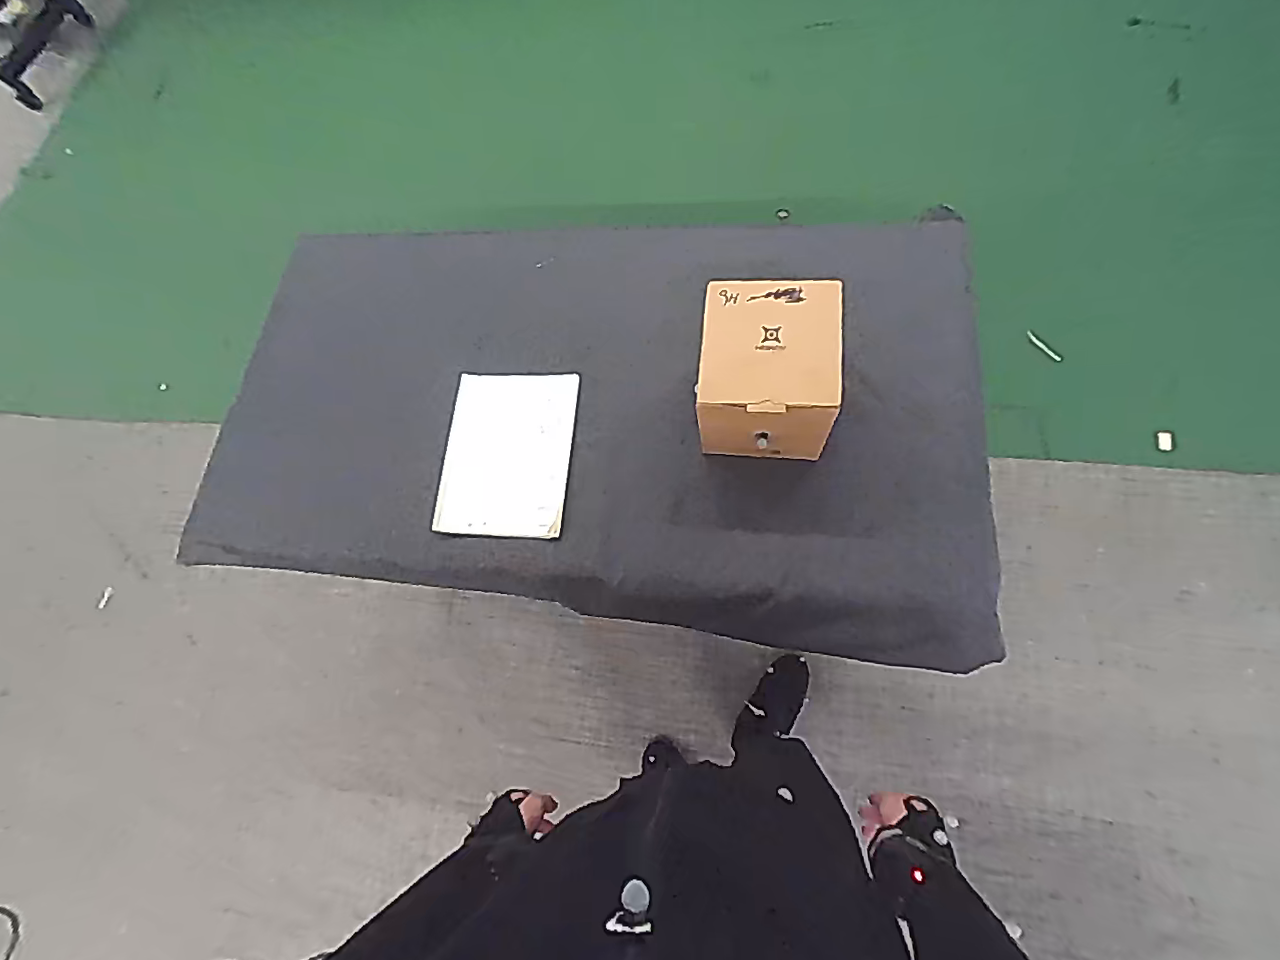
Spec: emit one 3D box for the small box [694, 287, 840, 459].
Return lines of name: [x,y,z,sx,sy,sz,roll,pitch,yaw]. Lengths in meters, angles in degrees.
small box: [0.168,-0.135,0.728,0.168,0.176,0.179,4,74,10]
